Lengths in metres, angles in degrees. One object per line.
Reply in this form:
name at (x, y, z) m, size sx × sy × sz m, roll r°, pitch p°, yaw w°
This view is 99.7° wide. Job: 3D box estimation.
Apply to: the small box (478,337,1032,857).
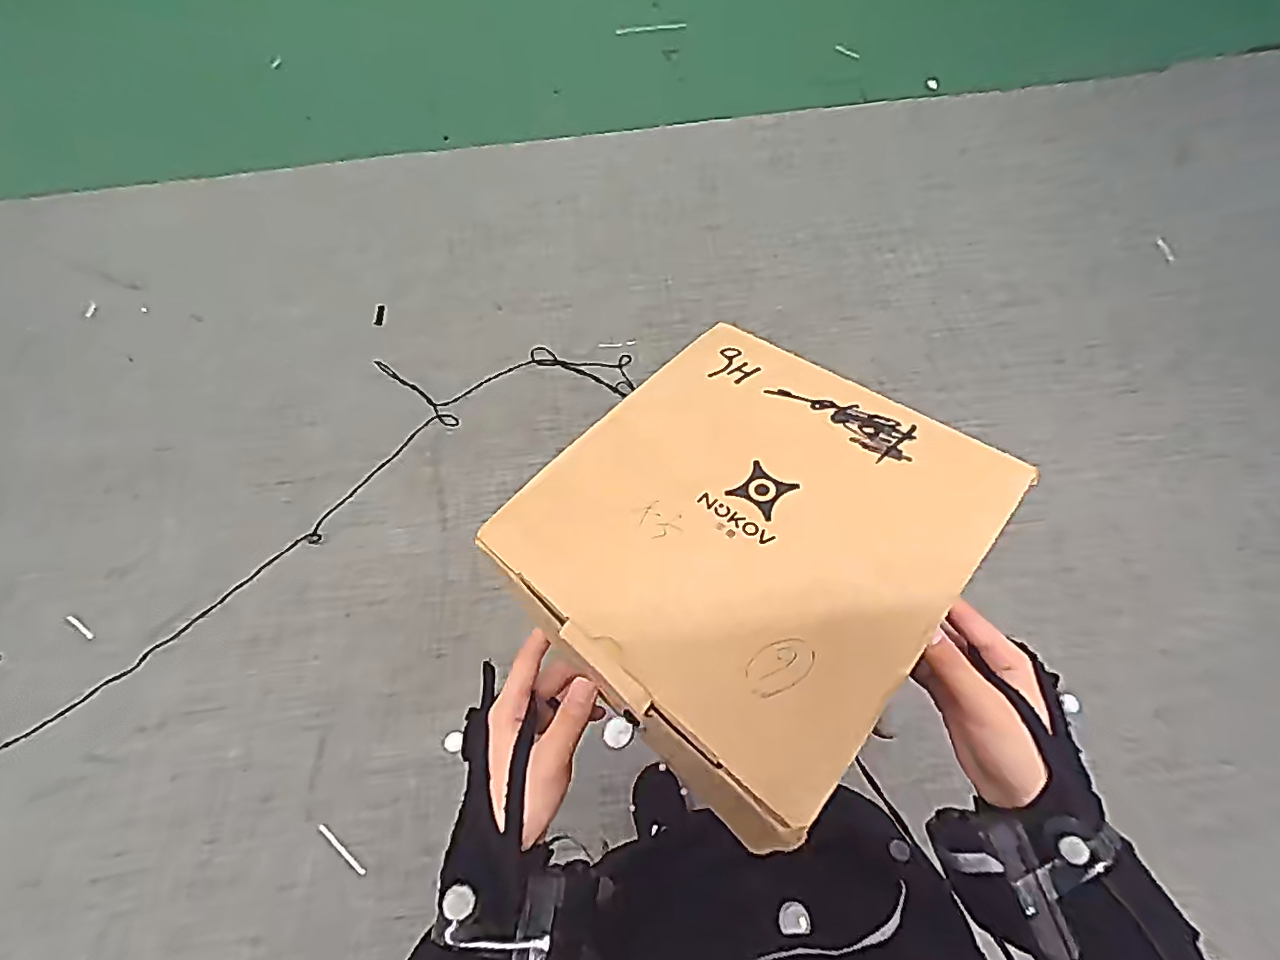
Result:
small box at (0.054, 0.064, 0.290) m, size 0.168 × 0.176 × 0.179 m, roll 35°, pitch 66°, yaw 28°
